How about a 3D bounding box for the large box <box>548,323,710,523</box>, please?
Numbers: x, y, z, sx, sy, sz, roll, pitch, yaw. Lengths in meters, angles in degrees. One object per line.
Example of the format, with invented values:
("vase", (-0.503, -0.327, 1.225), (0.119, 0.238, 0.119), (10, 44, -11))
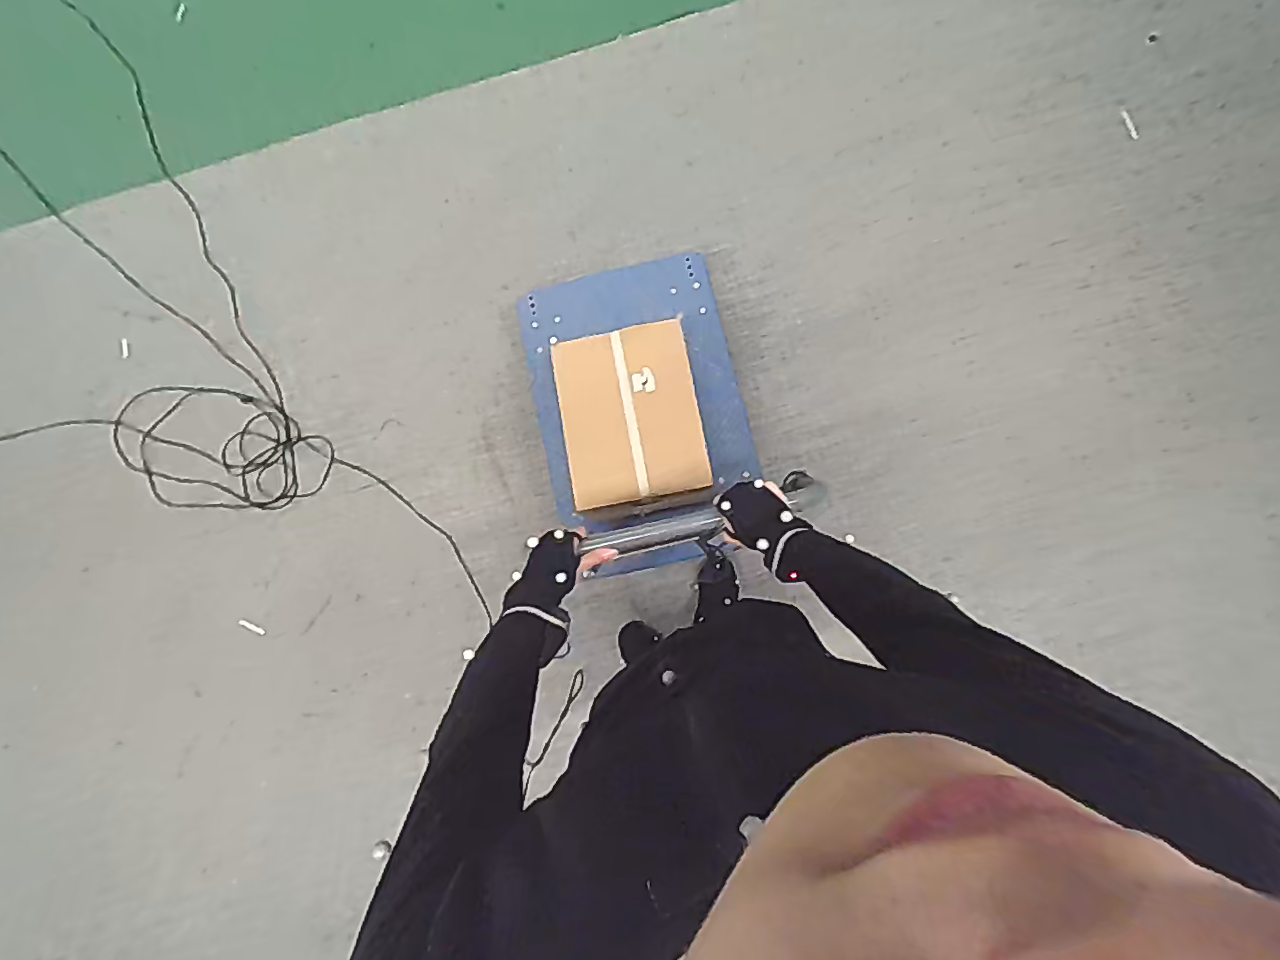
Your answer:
("large box", (-0.018, -0.125, 1.382), (0.320, 0.320, 0.408), (-11, 80, 2))
